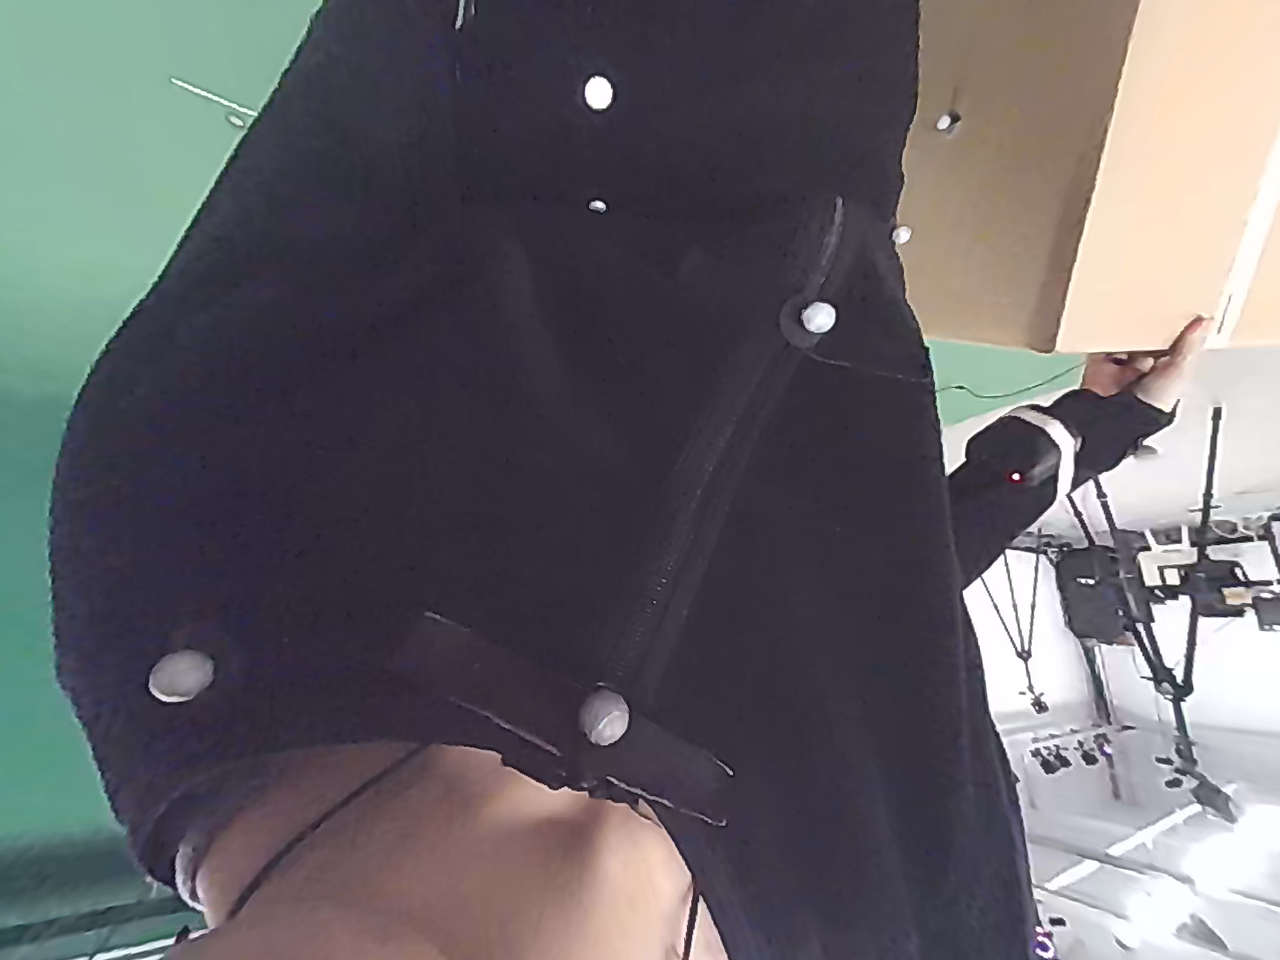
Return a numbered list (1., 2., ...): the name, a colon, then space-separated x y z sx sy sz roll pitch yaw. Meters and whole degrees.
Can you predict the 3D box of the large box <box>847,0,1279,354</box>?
1. large box: 0.446 -0.354 0.552 0.320 0.408 0.320 -4 -159 -10
